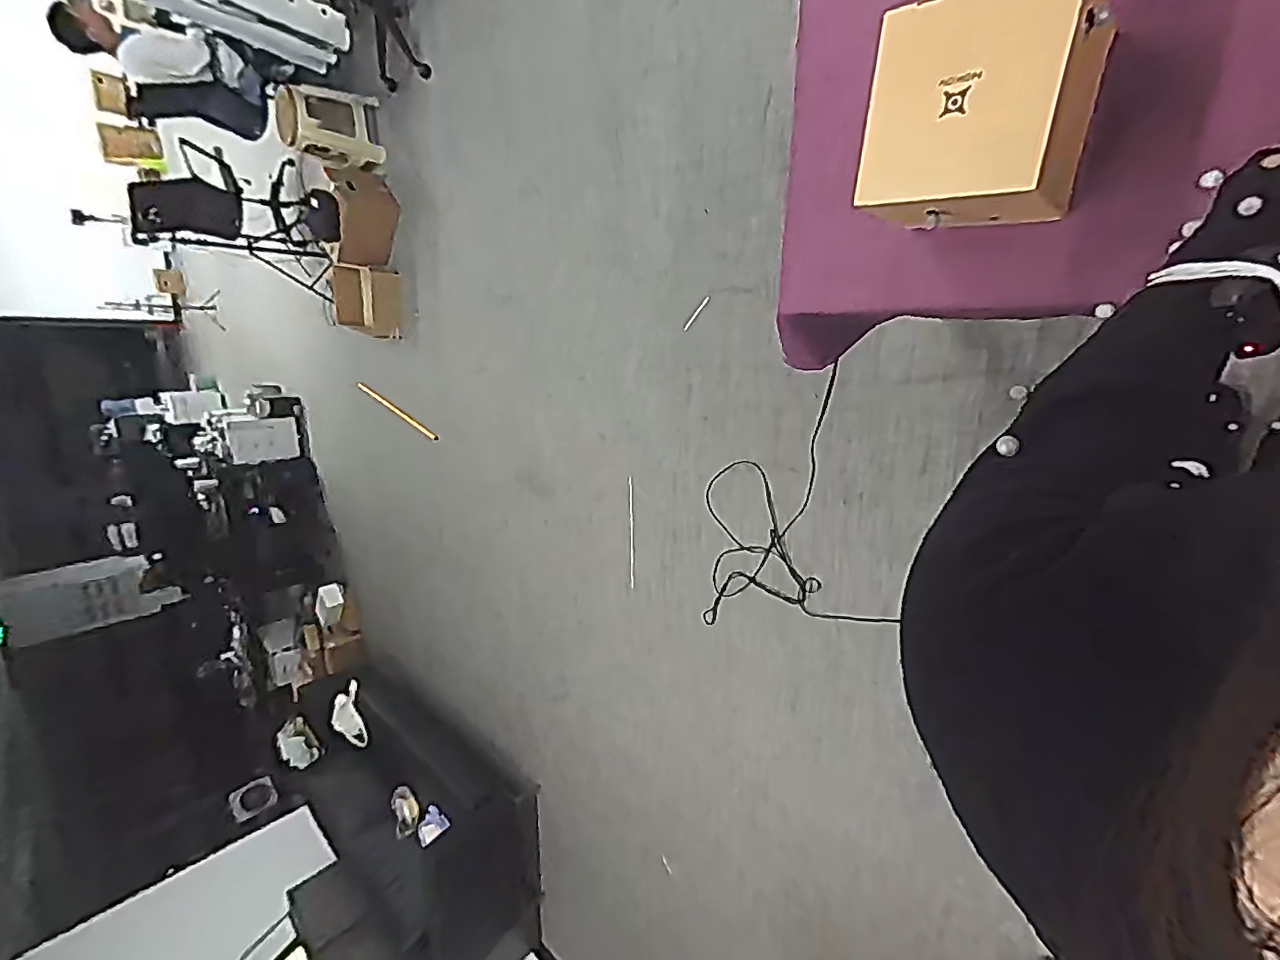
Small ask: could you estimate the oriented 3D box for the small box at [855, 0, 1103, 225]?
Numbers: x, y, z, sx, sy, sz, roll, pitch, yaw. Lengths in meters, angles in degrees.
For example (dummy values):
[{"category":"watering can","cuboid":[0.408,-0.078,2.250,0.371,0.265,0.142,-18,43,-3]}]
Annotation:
[{"category":"small box","cuboid":[0.352,-0.372,0.564,0.168,0.176,0.179,19,112,41]}]
